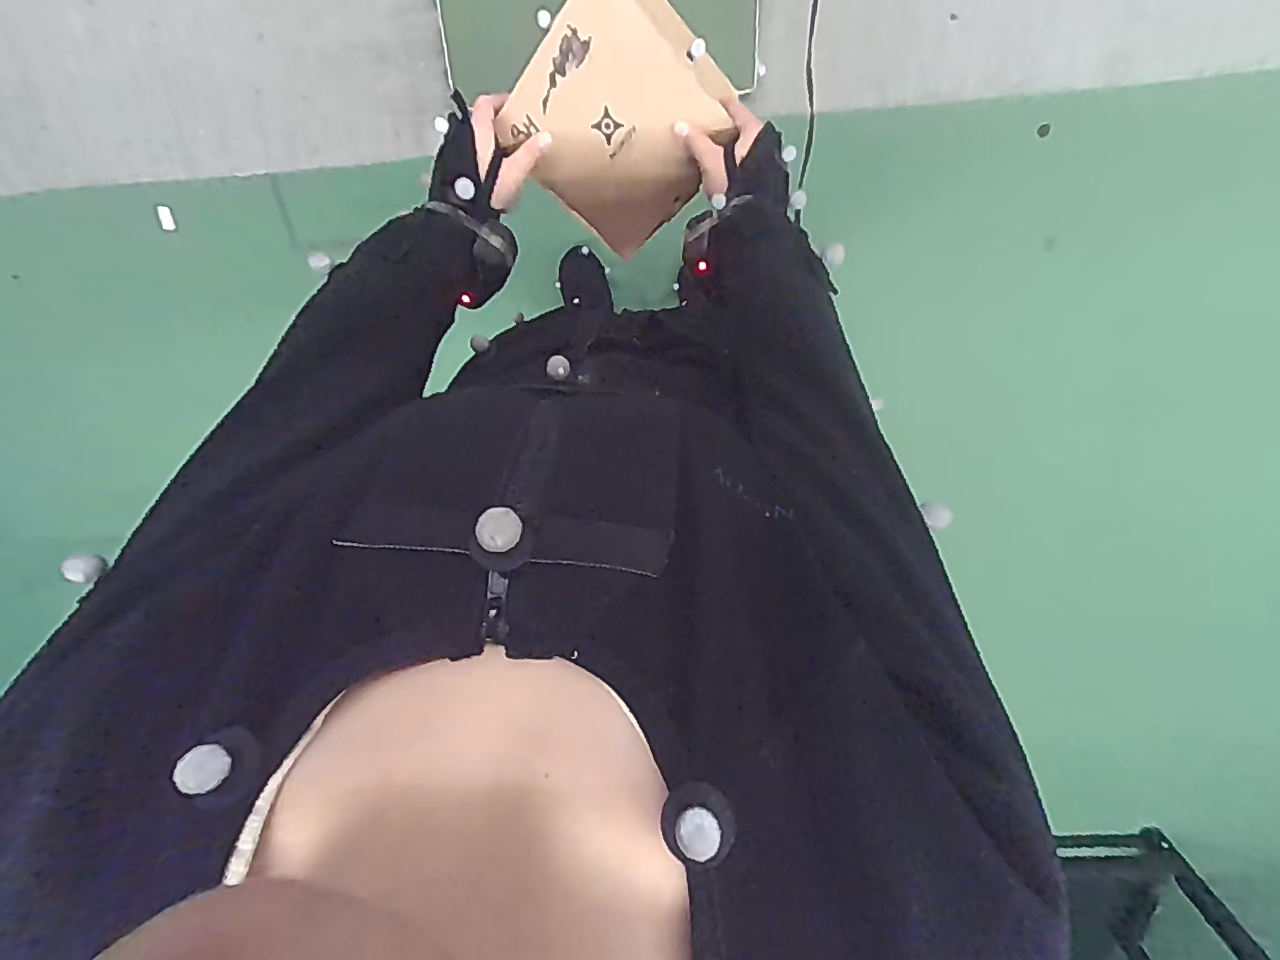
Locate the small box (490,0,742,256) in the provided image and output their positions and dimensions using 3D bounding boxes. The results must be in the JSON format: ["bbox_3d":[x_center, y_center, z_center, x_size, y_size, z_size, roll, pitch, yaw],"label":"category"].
[{"bbox_3d":[-0.017,-0.376,0.548,0.179,0.176,0.168,35,128,-28],"label":"small box"}]
